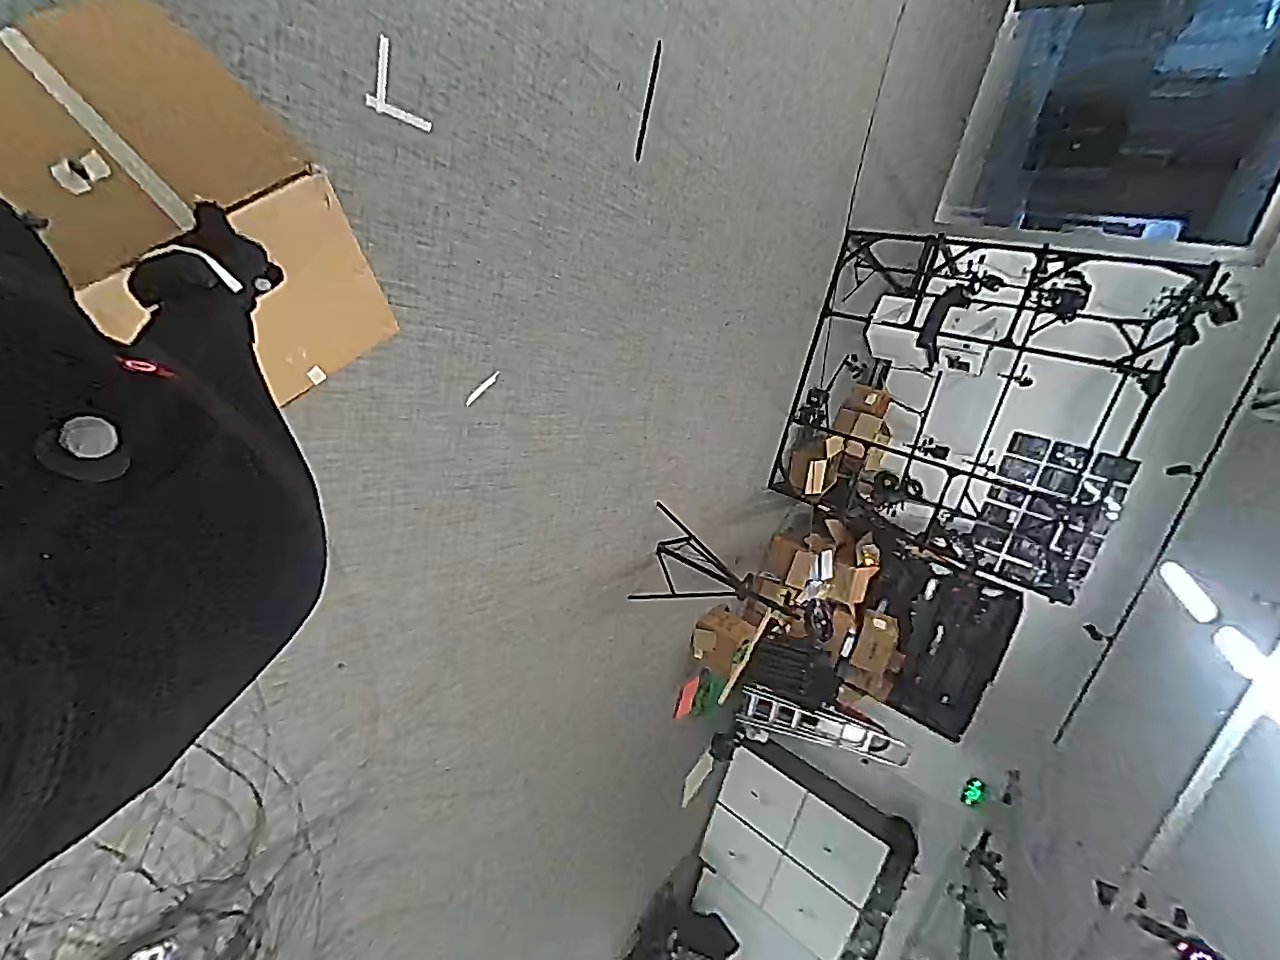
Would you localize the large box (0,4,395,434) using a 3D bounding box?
[{"bbox_3d":[-0.640,-0.346,0.769,0.320,0.408,0.320,-44,171,-18],"label":"large box"}]
